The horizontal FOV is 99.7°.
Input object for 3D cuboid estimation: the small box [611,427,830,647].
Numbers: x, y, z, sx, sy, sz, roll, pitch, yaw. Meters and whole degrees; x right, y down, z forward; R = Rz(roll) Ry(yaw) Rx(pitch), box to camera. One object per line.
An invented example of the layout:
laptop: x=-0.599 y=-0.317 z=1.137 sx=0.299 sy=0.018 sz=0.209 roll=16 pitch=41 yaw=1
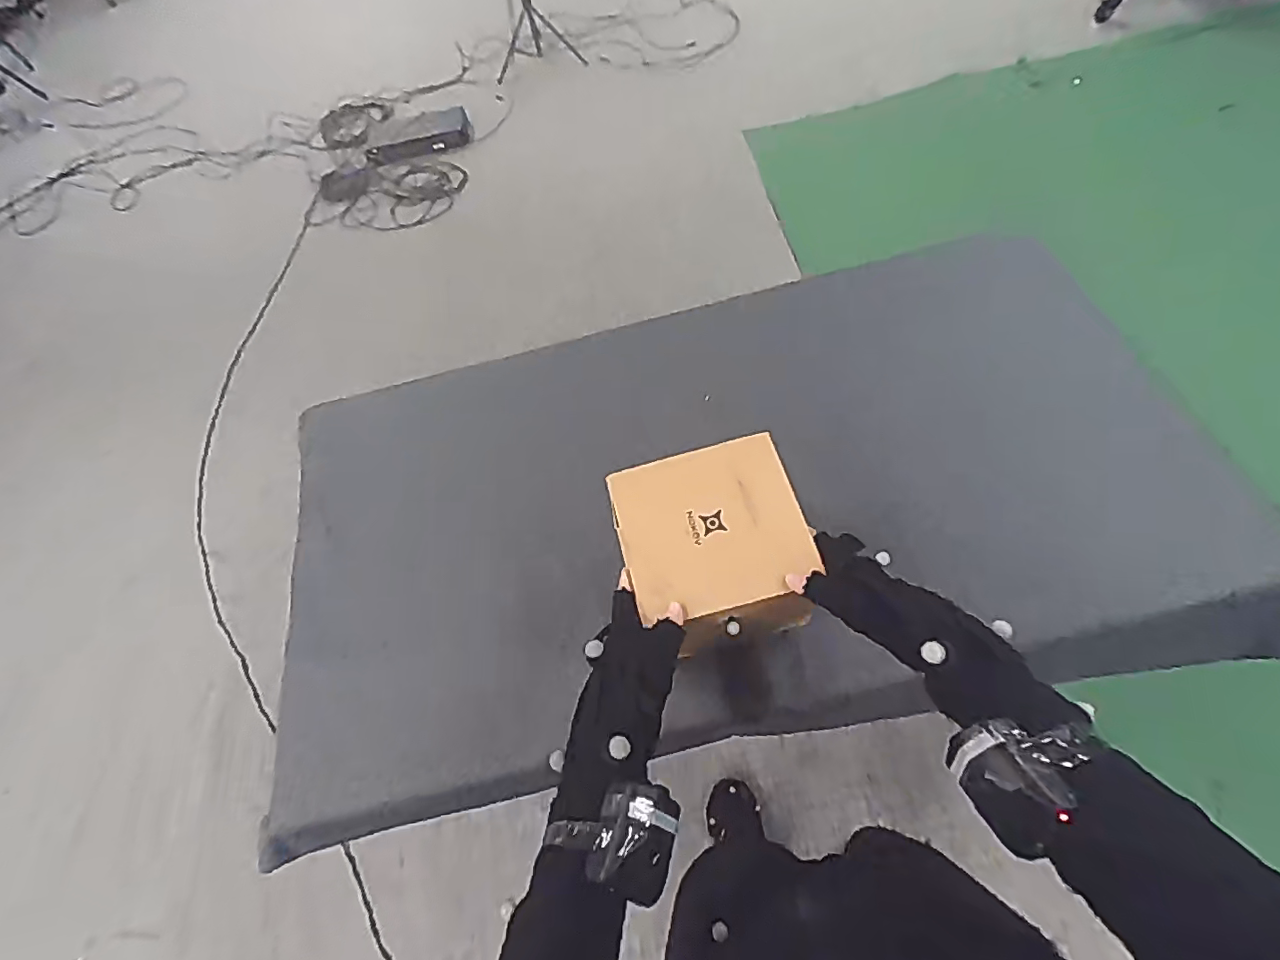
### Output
small box: x=0.081 y=0.072 z=0.591 sx=0.179 sy=0.176 sz=0.168 roll=-15 pitch=63 yaw=-1
